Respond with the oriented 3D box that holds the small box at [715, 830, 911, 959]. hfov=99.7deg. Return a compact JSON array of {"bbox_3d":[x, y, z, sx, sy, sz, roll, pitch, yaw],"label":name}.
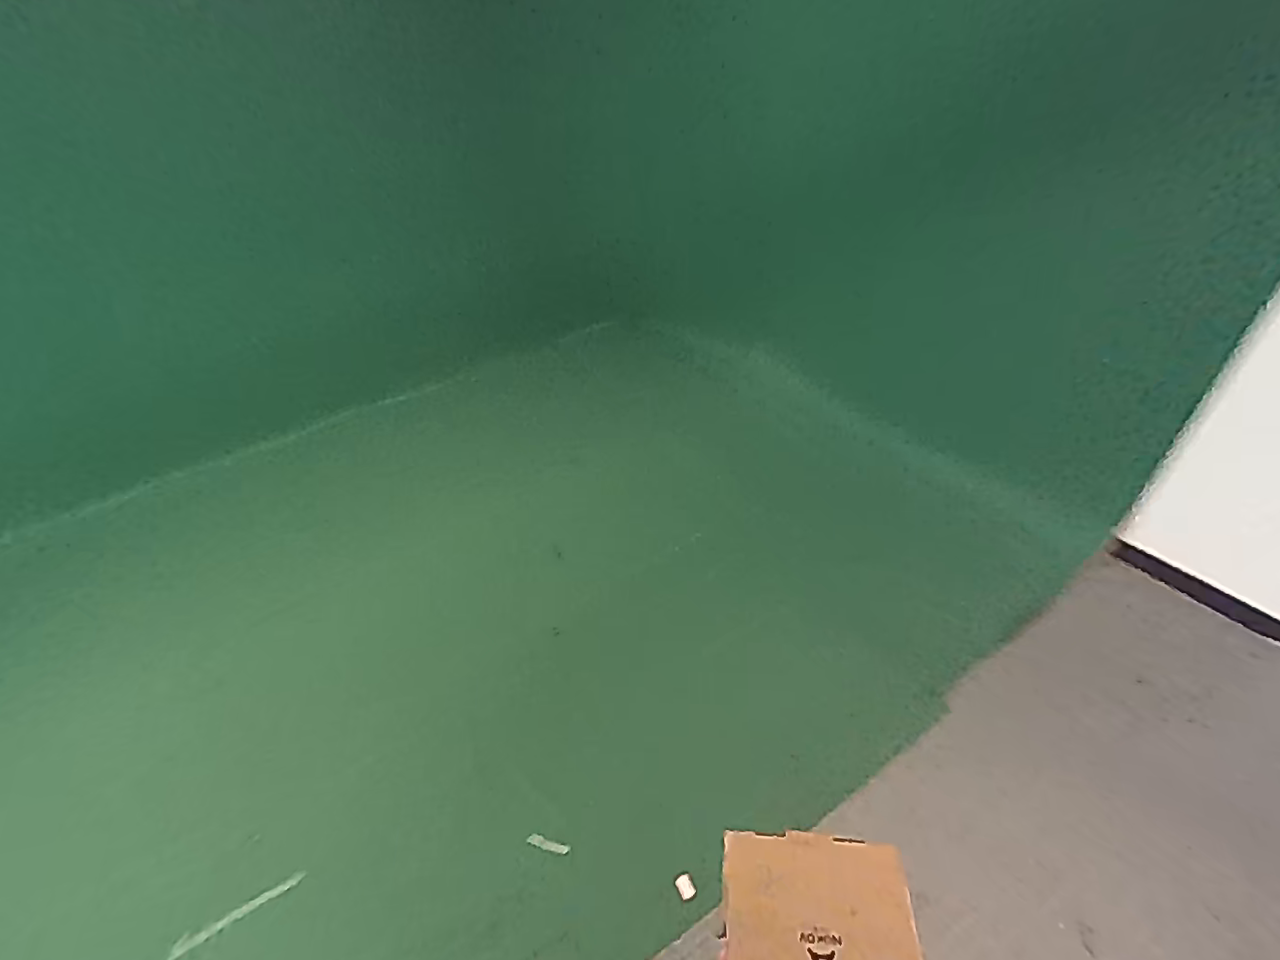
[{"bbox_3d":[0.158,0.465,0.525,0.168,0.176,0.179,-1,46,7],"label":"small box"}]
